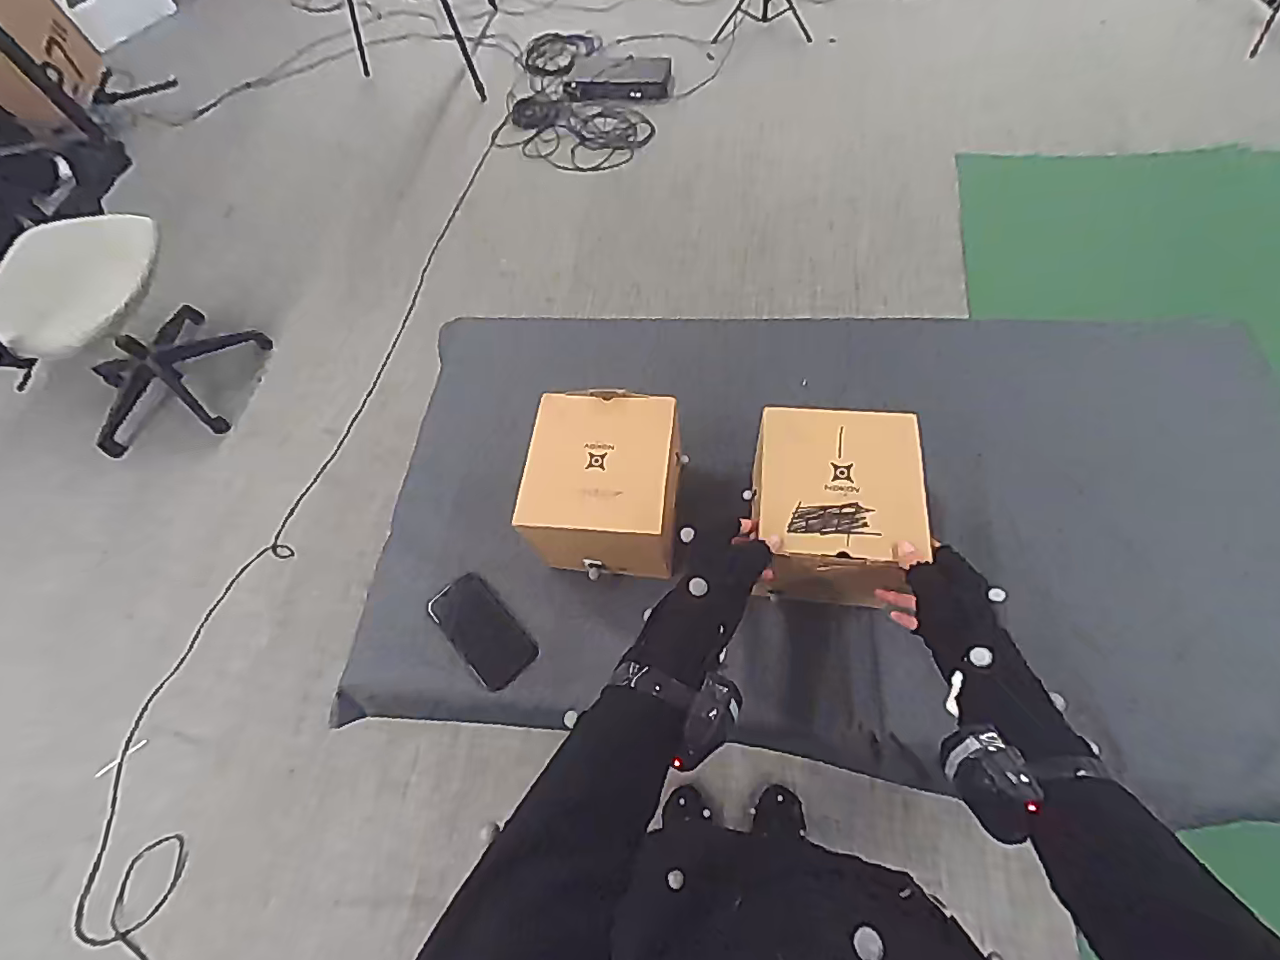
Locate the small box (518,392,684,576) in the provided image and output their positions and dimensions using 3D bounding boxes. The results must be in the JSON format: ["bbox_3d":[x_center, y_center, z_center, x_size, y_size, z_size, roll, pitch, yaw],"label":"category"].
[{"bbox_3d":[-0.035,0.009,0.683,0.168,0.176,0.179,2,65,10],"label":"small box"}]

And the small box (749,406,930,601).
[{"bbox_3d":[0.219,0.034,0.636,0.168,0.176,0.179,4,63,9],"label":"small box"}]
